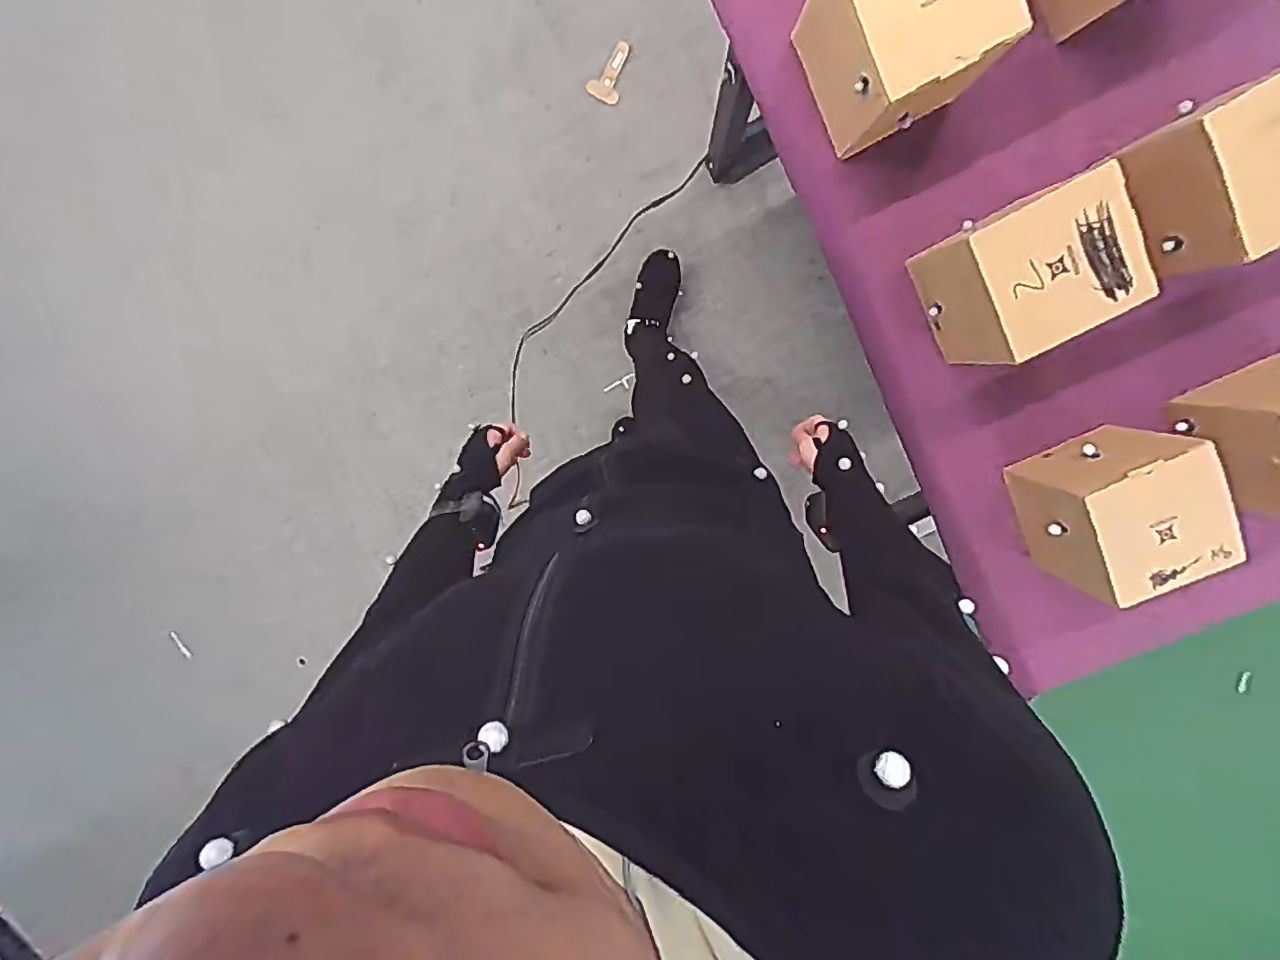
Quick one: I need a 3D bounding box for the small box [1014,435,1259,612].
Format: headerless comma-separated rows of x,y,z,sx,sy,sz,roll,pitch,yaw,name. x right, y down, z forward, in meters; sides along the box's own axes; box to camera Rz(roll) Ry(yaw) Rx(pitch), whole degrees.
0.667,0.047,0.750,0.168,0.176,0.179,-25,100,8,small box

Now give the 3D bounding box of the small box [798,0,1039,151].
0.307,-0.535,0.635,0.168,0.176,0.179,-26,101,7,small box

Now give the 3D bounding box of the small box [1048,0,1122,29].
0.564,-0.664,0.590,0.168,0.176,0.179,-30,100,10,small box

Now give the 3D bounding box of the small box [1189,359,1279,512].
0.891,-0.060,0.713,0.179,0.176,0.168,-26,100,8,small box

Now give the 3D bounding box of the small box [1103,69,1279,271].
0.724,-0.372,0.652,0.168,0.176,0.179,-28,99,9,small box
